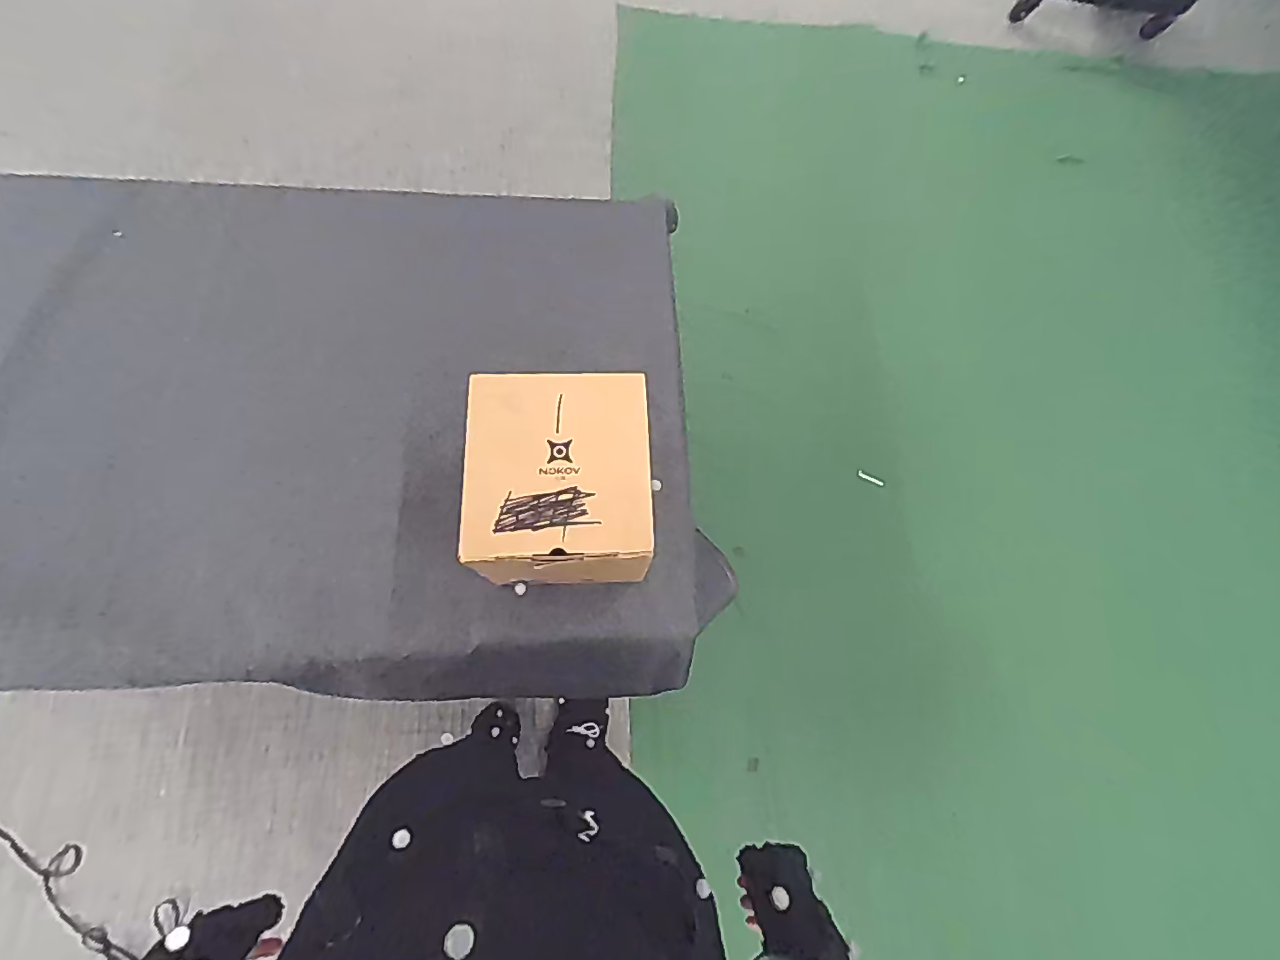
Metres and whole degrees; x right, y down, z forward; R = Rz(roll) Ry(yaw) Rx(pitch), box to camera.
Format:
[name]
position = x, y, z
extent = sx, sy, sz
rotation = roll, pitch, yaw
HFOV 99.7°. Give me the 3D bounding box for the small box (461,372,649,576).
[small box]
position = -0.078, 0.004, 0.563
extent = 0.168, 0.176, 0.179
rotation = -1, 72, -4
